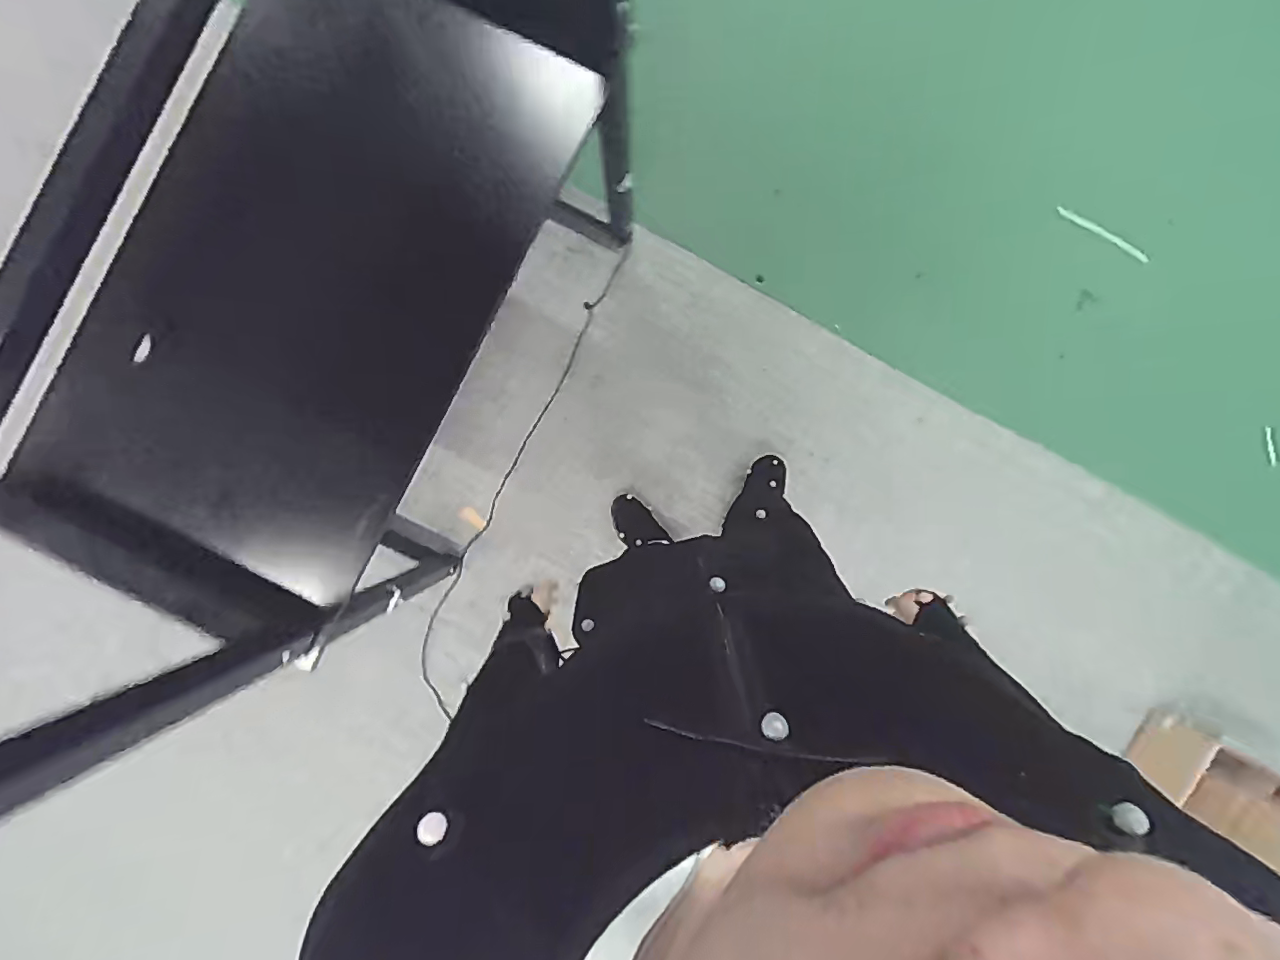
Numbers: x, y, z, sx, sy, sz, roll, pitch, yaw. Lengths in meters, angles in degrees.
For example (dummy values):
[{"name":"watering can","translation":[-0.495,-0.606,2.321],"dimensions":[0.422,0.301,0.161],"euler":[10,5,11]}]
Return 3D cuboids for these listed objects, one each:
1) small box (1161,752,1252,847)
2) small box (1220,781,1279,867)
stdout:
[{"name":"small box","translation":[1.656,0.908,1.531],"dimensions":[0.179,0.176,0.168],"euler":[28,92,0]},{"name":"small box","translation":[1.660,0.908,1.366],"dimensions":[0.179,0.176,0.168],"euler":[33,90,-2]}]
